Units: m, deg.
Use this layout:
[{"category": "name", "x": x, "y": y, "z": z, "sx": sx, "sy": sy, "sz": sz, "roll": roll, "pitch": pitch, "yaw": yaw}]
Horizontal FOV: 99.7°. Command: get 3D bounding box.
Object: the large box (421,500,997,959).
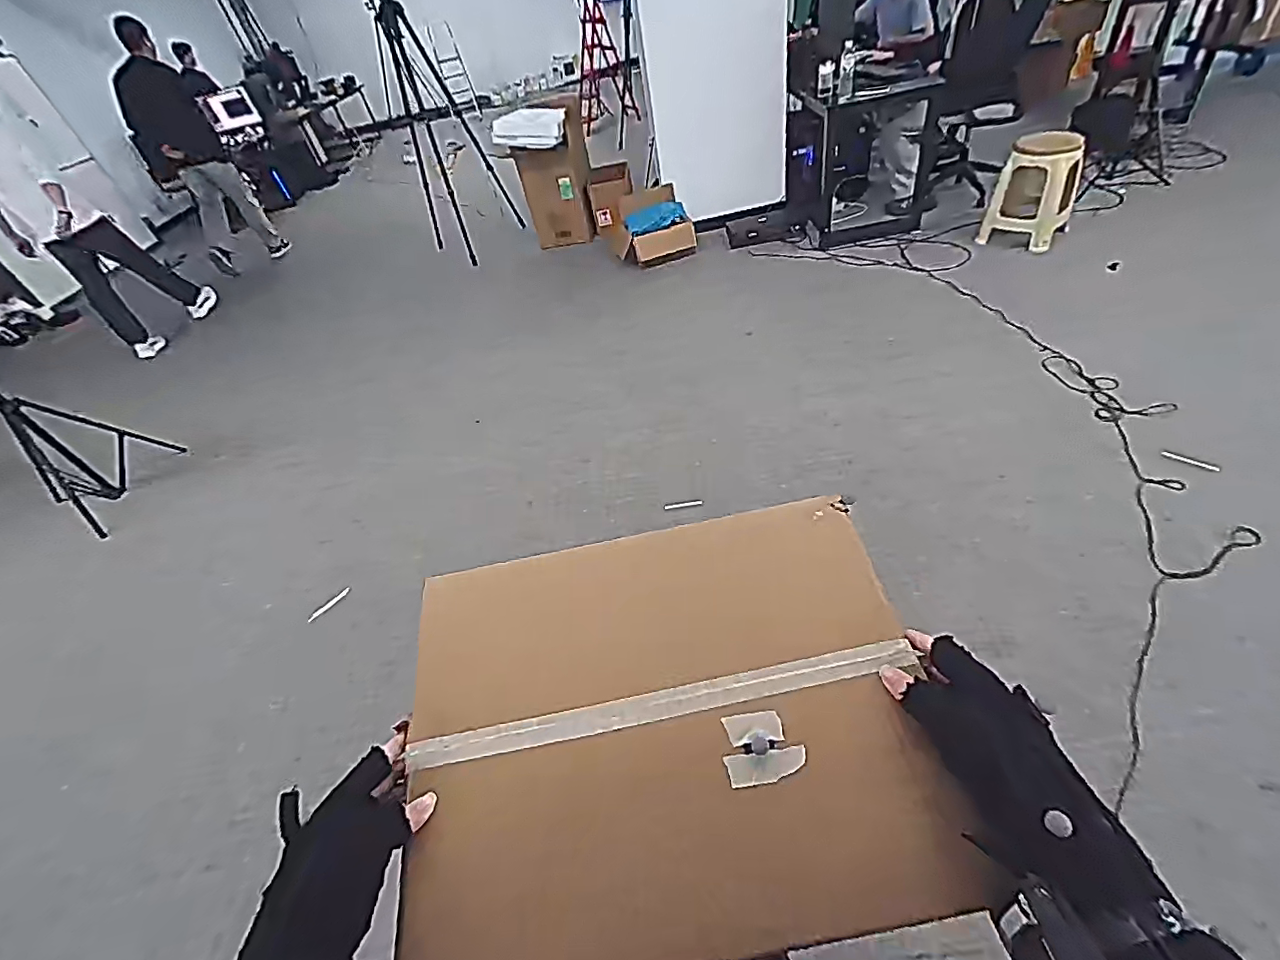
[{"category": "large box", "x": 0.039, "y": 0.268, "z": 0.564, "sx": 0.408, "sy": 0.320, "sz": 0.320, "roll": -12, "pitch": 54, "yaw": 0}]
